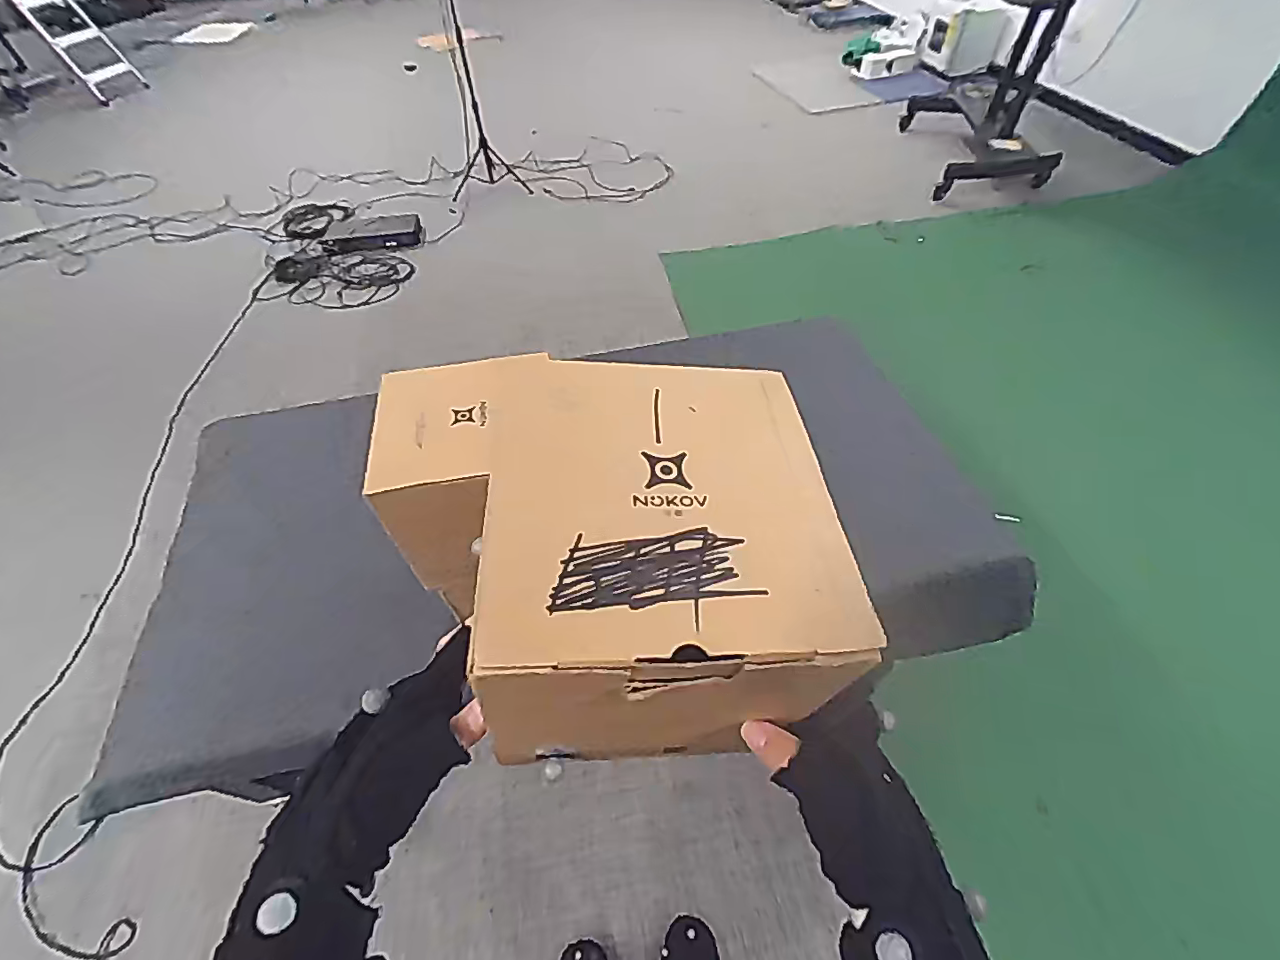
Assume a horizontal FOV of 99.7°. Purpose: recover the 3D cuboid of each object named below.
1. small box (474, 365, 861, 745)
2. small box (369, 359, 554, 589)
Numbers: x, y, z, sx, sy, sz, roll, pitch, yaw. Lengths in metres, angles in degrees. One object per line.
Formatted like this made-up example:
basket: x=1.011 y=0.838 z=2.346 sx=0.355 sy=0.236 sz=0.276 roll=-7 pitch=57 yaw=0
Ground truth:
small box: x=0.000 y=0.054 z=0.333 sx=0.168 sy=0.176 sz=0.179 roll=2 pitch=51 yaw=-9
small box: x=-0.162 y=-0.004 z=0.586 sx=0.179 sy=0.176 sz=0.168 roll=-10 pitch=49 yaw=-6
